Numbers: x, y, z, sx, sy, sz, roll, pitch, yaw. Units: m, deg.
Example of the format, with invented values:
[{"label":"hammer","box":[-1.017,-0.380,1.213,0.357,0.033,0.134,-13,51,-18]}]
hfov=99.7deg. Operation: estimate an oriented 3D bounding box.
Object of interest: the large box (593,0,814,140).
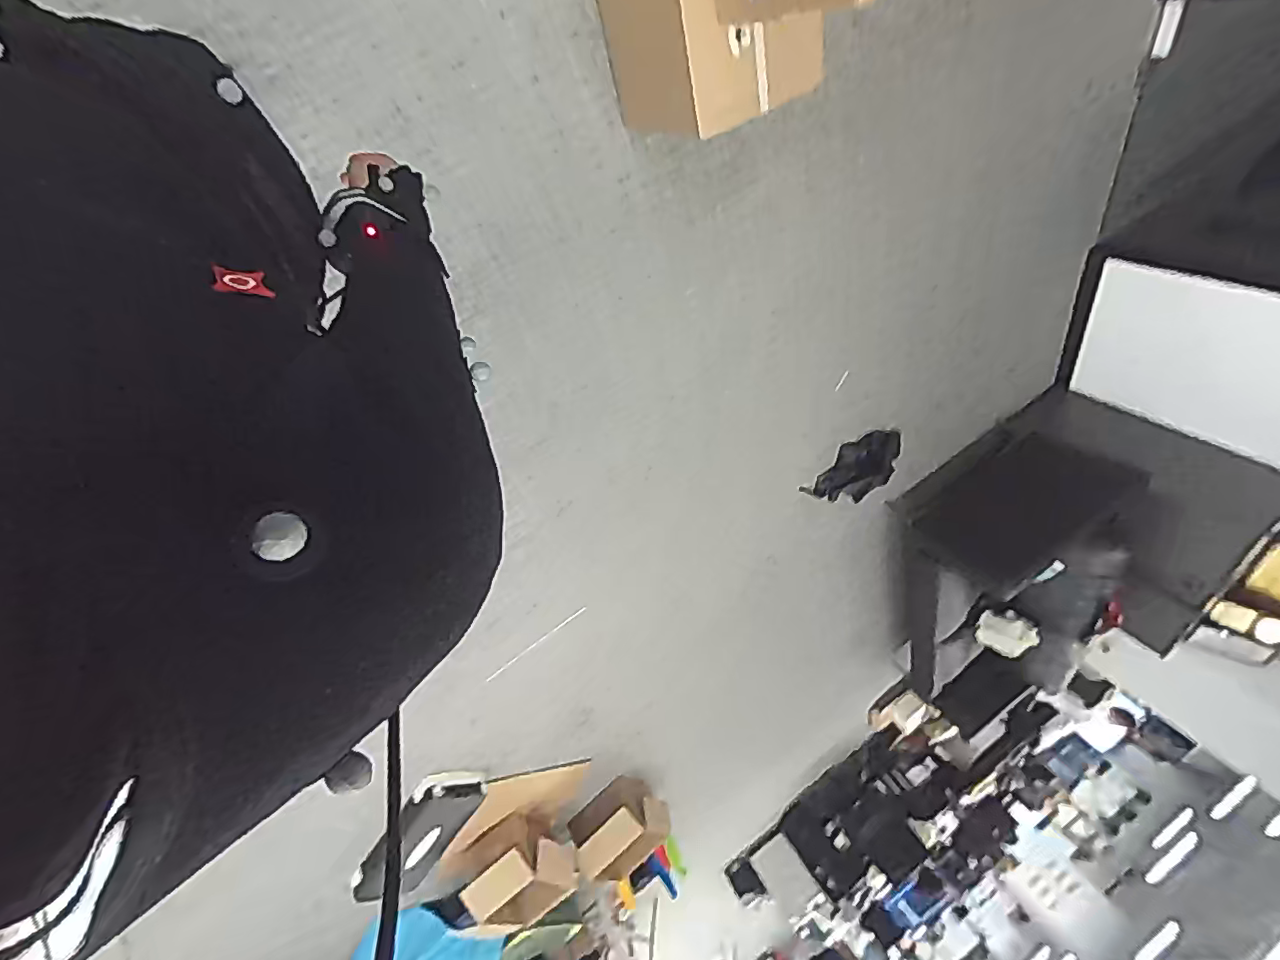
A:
[{"label":"large box","box":[0.110,-0.953,1.051,0.320,0.320,0.408,-31,135,-12]}]

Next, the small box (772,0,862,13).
[{"label":"small box","box":[0.282,-0.769,0.726,0.168,0.176,0.179,-33,135,-11]}]
